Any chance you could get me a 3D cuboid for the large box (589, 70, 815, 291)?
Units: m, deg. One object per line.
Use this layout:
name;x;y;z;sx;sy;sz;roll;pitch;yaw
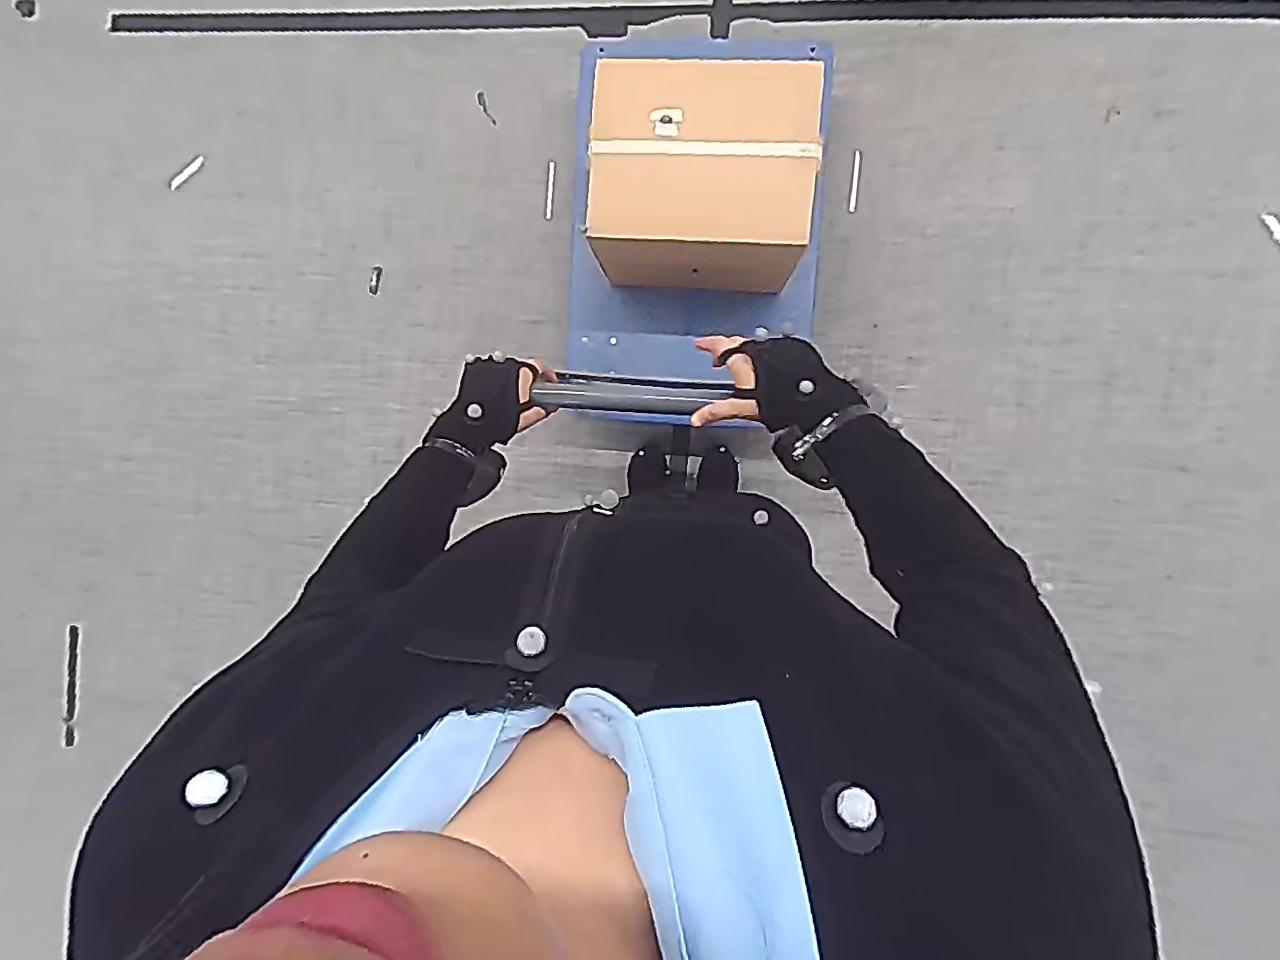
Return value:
large box;0.126;-0.596;1.136;0.408;0.320;0.320;4;93;6
